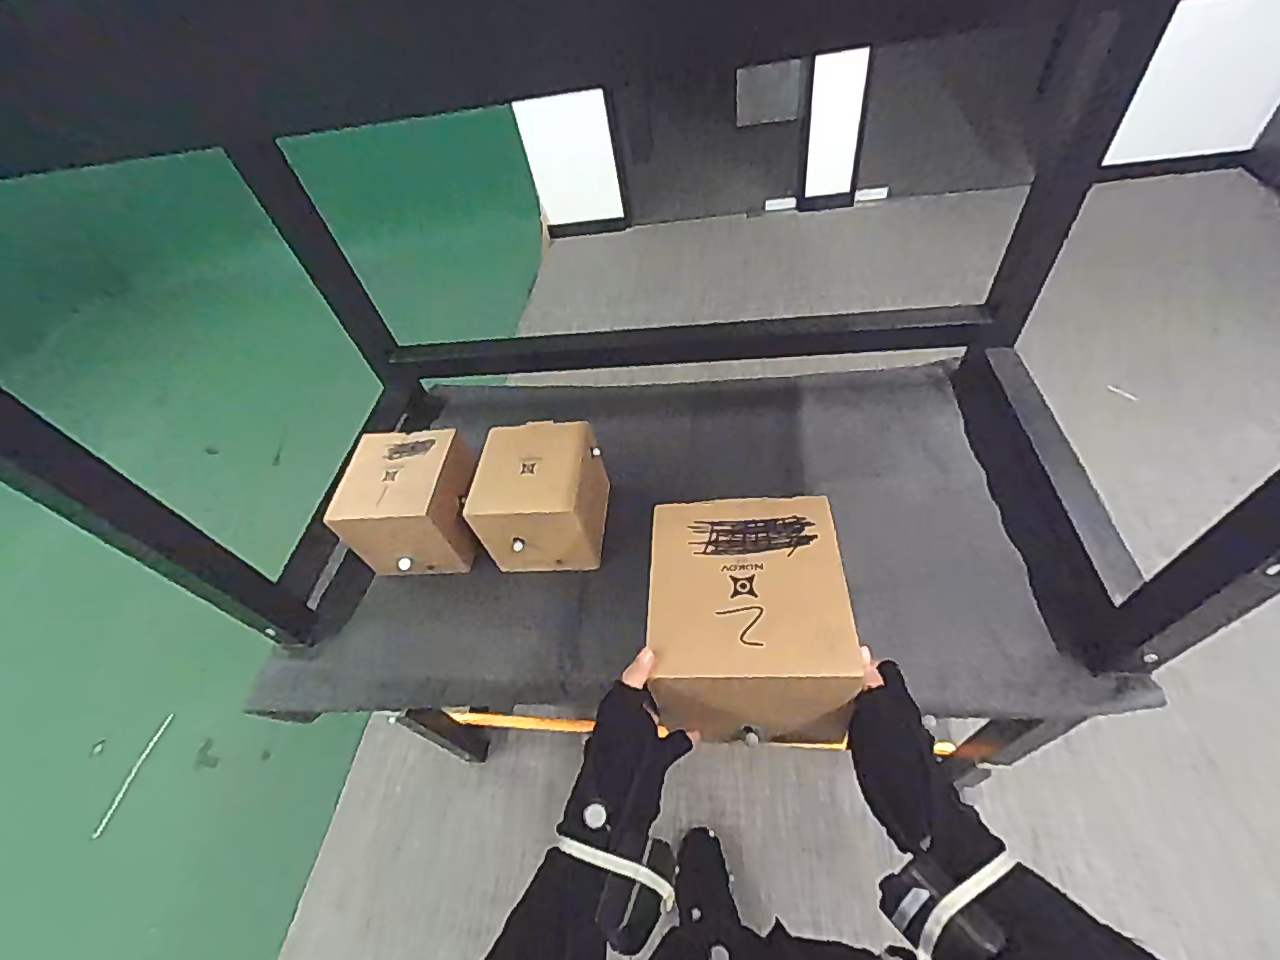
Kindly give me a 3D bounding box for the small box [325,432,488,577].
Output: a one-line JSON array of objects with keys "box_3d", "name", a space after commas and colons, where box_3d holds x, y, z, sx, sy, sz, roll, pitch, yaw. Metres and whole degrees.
[{"box_3d": [-0.369, 0.043, 0.896, 0.168, 0.176, 0.179, -3, 51, 9], "name": "small box"}]
